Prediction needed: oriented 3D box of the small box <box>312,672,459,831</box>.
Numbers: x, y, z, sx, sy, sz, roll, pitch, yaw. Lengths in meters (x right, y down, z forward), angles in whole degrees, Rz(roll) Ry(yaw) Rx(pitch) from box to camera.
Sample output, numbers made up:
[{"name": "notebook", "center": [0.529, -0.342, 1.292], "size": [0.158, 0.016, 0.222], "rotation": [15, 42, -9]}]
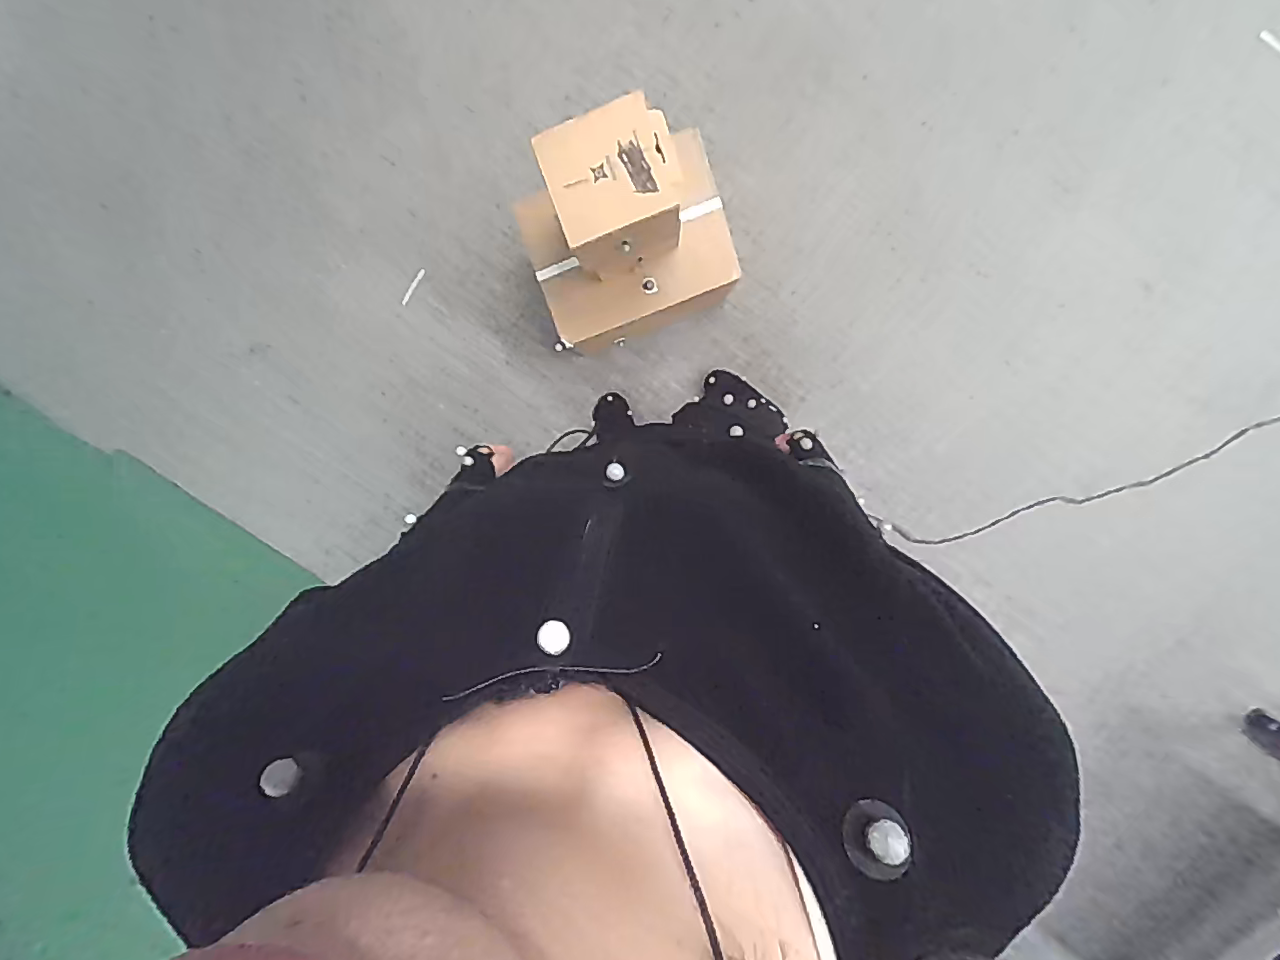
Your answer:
[{"name": "small box", "center": [-0.476, 0.511, 1.039], "size": [0.168, 0.176, 0.179], "rotation": [28, 99, -3]}]

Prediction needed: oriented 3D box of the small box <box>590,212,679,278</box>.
[{"name": "small box", "center": [-0.042, -0.502, 1.010], "size": [0.179, 0.176, 0.168], "rotation": [-24, 97, 5]}]

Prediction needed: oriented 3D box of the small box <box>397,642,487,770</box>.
[{"name": "small box", "center": [-0.466, 0.489, 1.199], "size": [0.179, 0.176, 0.168], "rotation": [27, 99, -3]}]

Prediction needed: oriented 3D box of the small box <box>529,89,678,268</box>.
[{"name": "small box", "center": [-0.050, -0.458, 0.851], "size": [0.179, 0.176, 0.168], "rotation": [-19, 98, 6]}]
